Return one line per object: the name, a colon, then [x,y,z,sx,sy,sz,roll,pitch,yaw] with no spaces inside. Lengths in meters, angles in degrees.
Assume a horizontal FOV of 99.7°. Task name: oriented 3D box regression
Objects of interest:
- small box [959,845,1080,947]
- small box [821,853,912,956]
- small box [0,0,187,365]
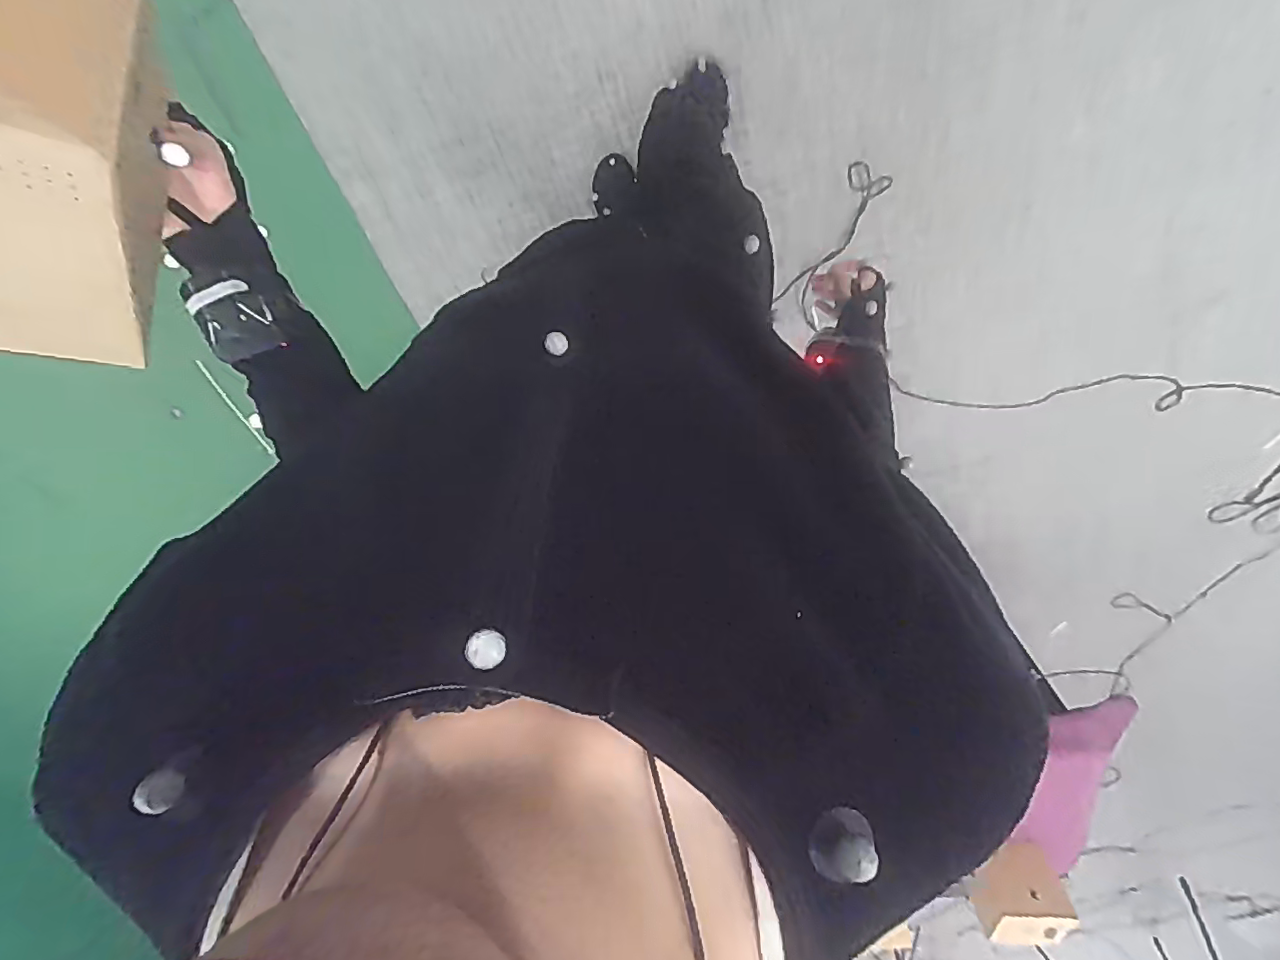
small box: [0.963,1.067,1.391,0.179,0.176,0.168,-3,122,5]
small box: [0.603,1.129,1.446,0.179,0.176,0.168,-15,120,10]
small box: [-0.318,-0.173,0.232,0.179,0.168,0.176,4,158,-38]
